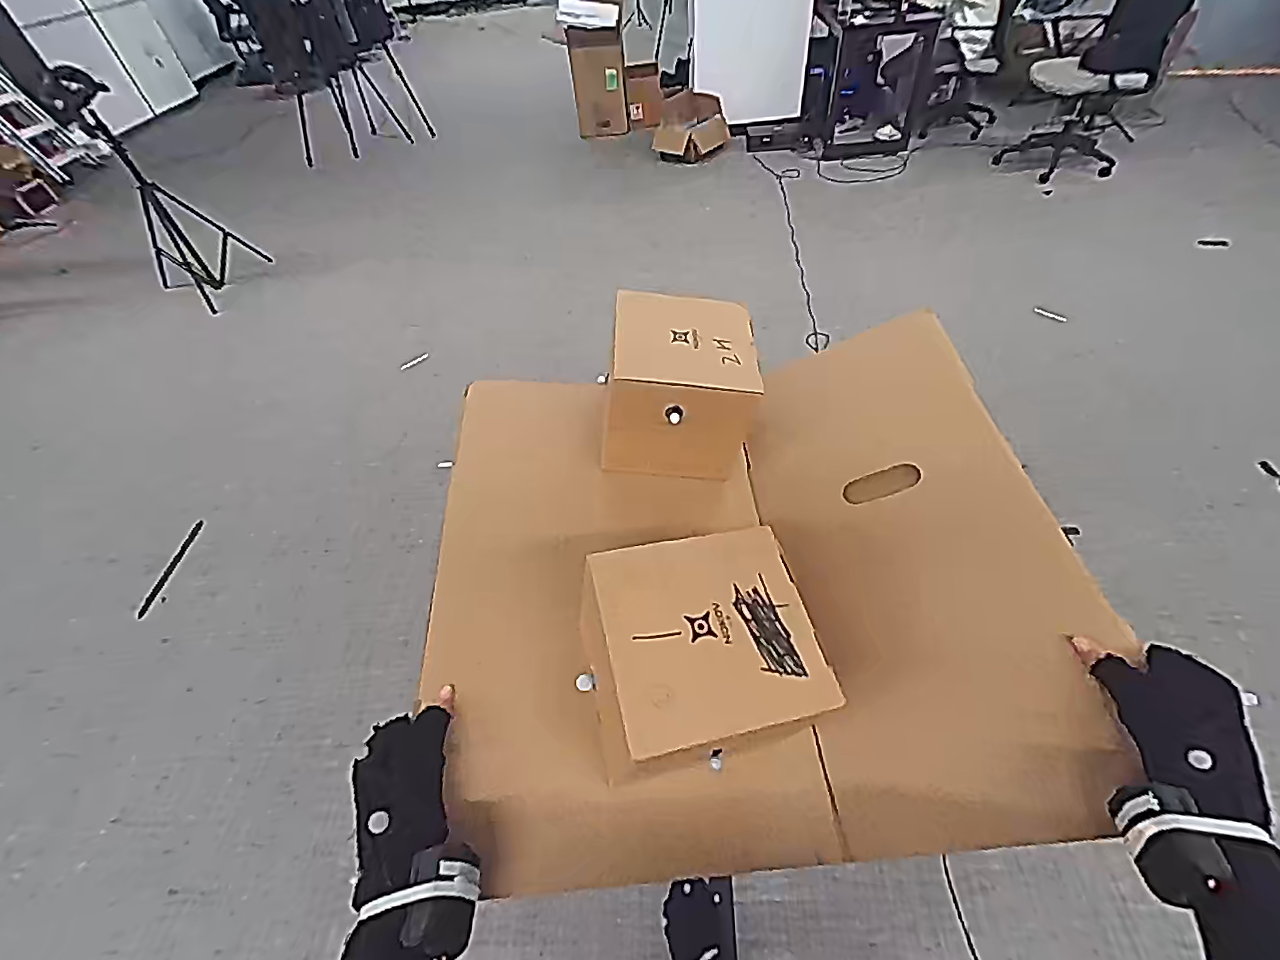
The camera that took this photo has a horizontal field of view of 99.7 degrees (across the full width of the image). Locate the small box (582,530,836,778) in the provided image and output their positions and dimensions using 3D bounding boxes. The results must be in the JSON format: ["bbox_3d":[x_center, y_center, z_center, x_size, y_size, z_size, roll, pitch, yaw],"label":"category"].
[{"bbox_3d":[0.046,0.168,0.518,0.179,0.176,0.168,-7,56,-14],"label":"small box"}]

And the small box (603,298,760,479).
[{"bbox_3d":[0.045,-0.116,0.727,0.179,0.176,0.168,5,54,-6],"label":"small box"}]
